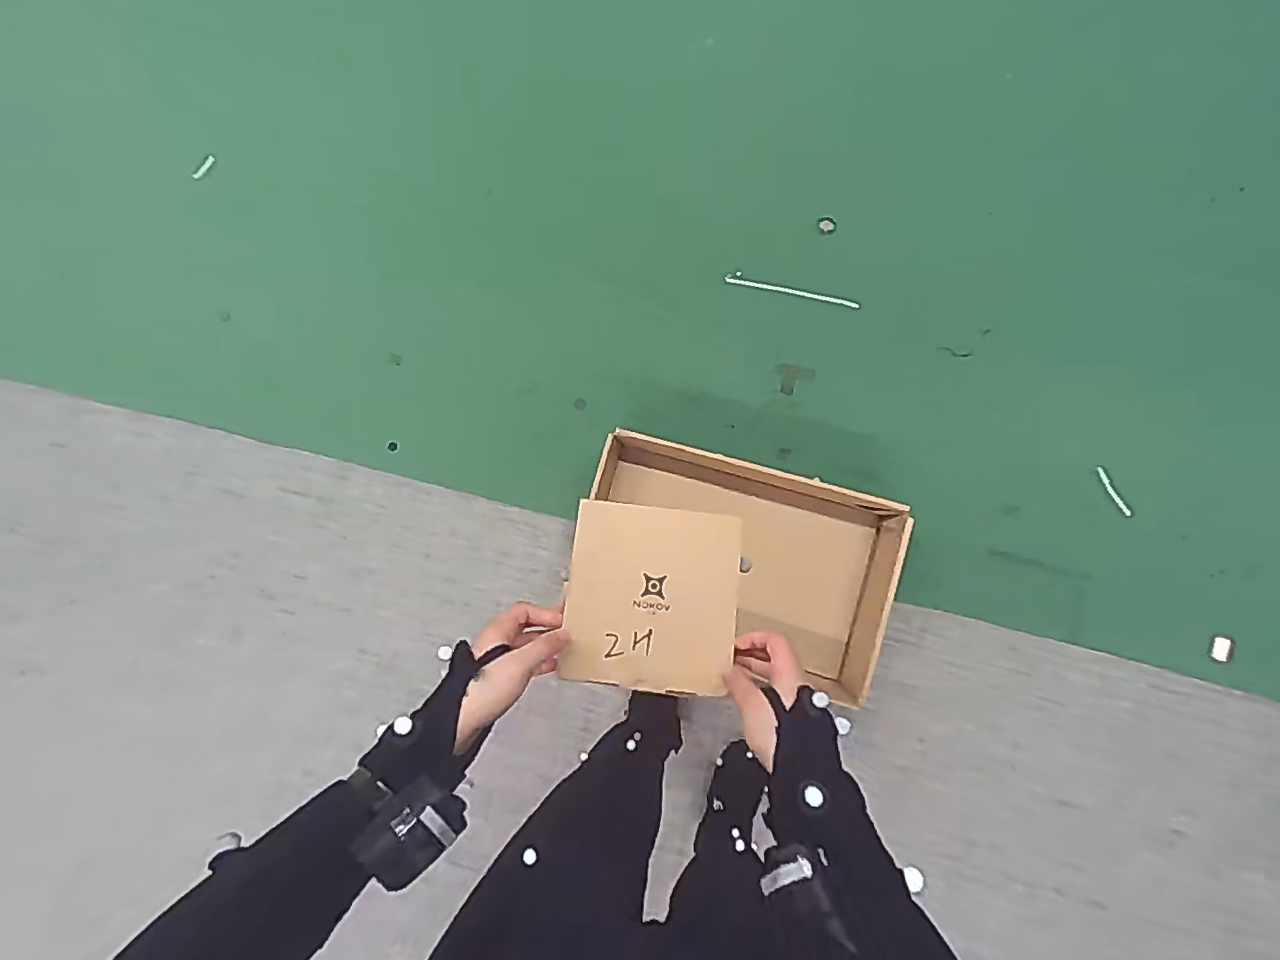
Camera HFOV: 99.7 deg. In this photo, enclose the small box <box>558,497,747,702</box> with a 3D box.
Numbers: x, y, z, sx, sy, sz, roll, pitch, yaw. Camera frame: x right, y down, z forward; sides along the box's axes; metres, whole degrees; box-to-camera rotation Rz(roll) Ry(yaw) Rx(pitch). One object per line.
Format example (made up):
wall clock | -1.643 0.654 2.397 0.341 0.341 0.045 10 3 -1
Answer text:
small box | 0.015 0.127 0.593 0.168 0.176 0.179 7 78 2
